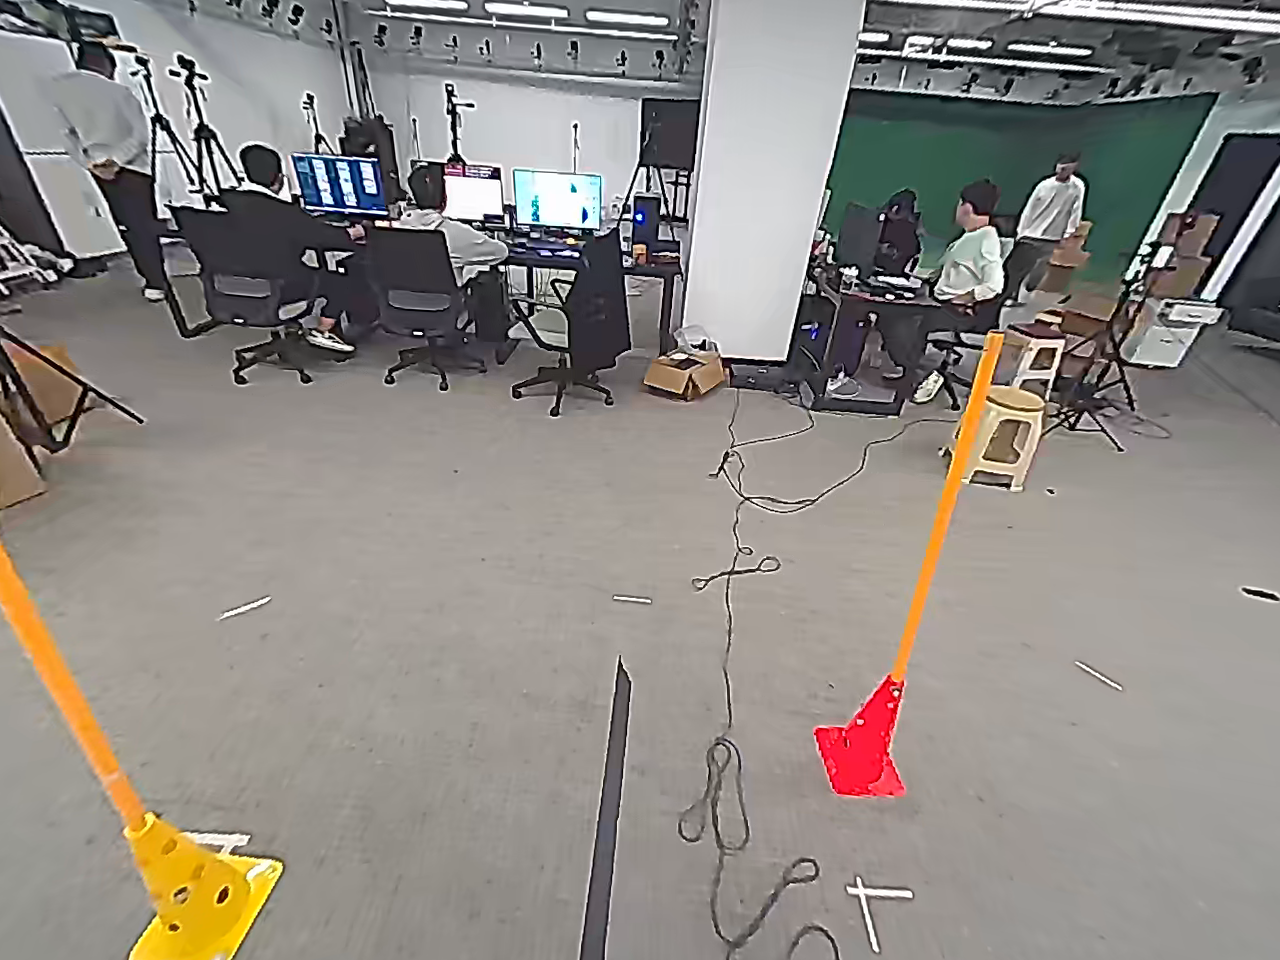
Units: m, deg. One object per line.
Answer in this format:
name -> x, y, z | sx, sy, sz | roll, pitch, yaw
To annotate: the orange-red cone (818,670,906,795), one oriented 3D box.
orange-red cone -> 0.620, 0.631, 1.413 | 0.199, 0.360, 0.198 | 1, 31, -2
